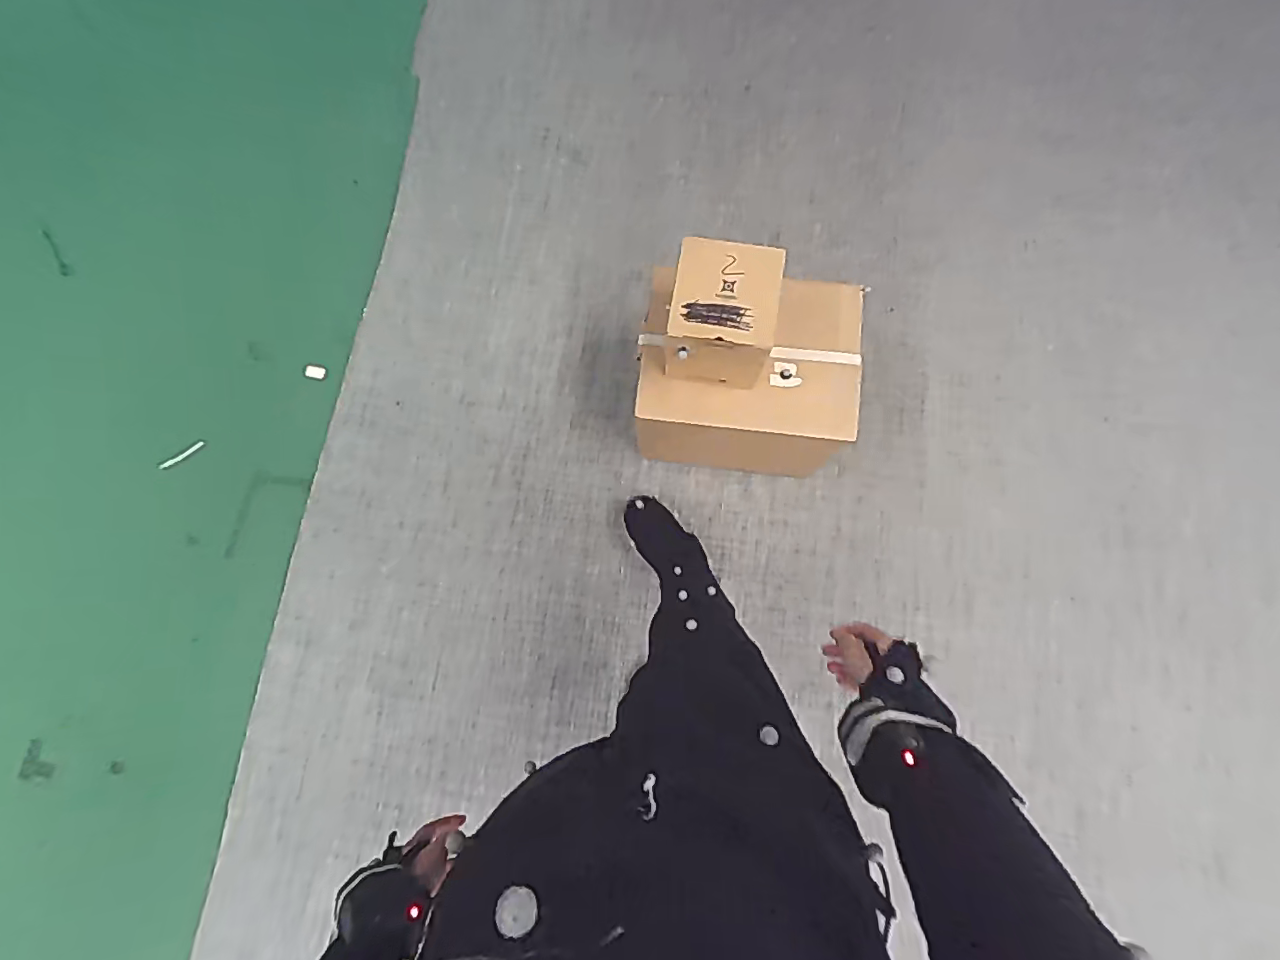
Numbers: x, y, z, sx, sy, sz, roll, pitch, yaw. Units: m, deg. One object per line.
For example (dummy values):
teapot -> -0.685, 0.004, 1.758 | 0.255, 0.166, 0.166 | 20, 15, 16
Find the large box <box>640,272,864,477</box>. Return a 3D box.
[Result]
large box -> 0.214, -0.203, 1.149 | 0.408, 0.320, 0.320 | 7, 79, 3
